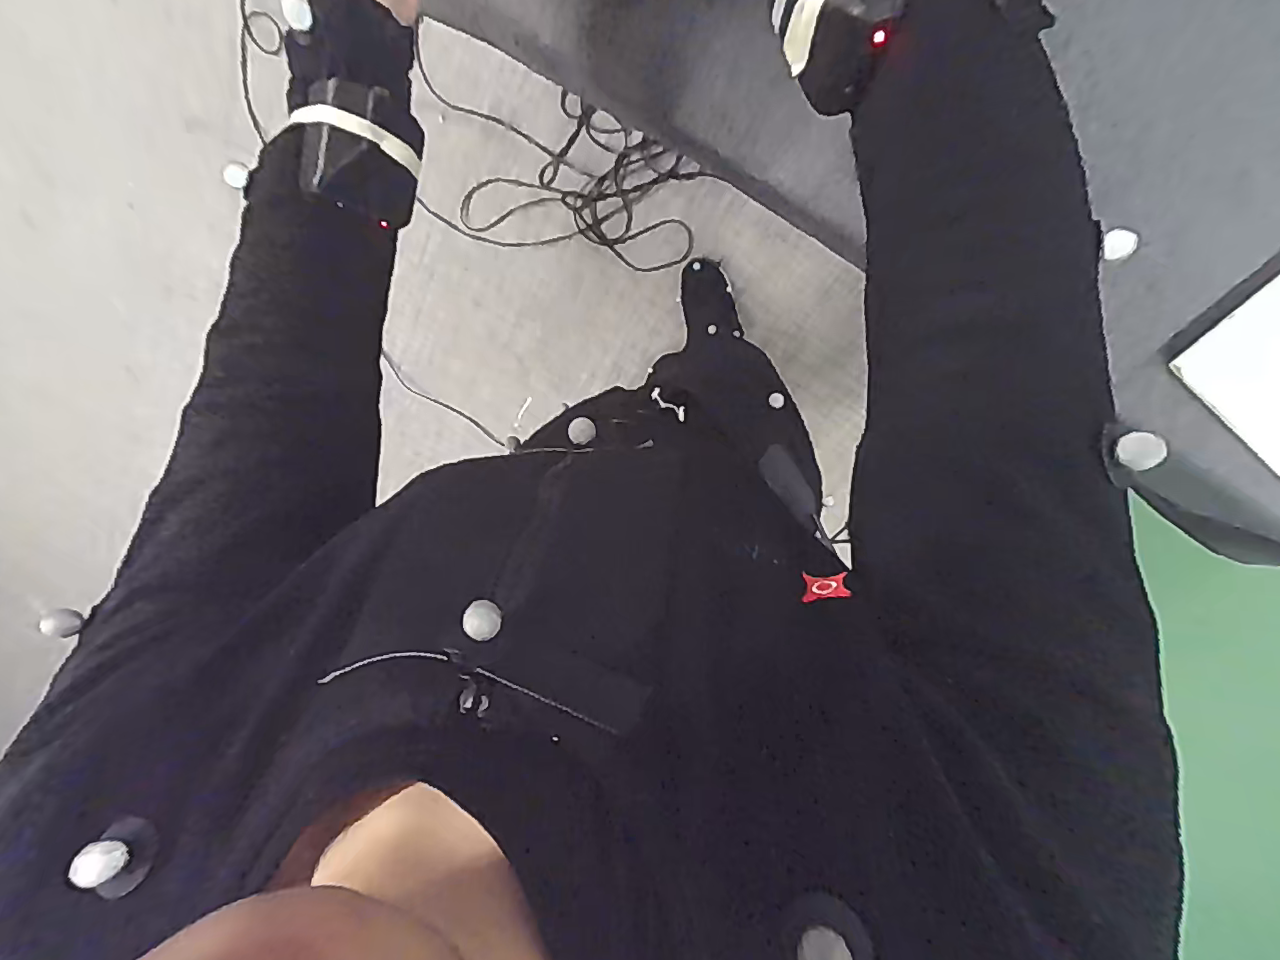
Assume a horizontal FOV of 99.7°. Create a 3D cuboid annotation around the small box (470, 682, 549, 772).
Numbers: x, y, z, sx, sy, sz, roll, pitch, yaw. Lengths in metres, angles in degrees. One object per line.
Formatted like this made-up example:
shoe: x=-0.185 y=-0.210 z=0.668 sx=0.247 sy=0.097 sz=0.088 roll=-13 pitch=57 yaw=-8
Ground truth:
small box: x=-0.425 y=0.815 z=1.793 sx=0.168 sy=0.176 sz=0.179 roll=34 pitch=114 yaw=-7
